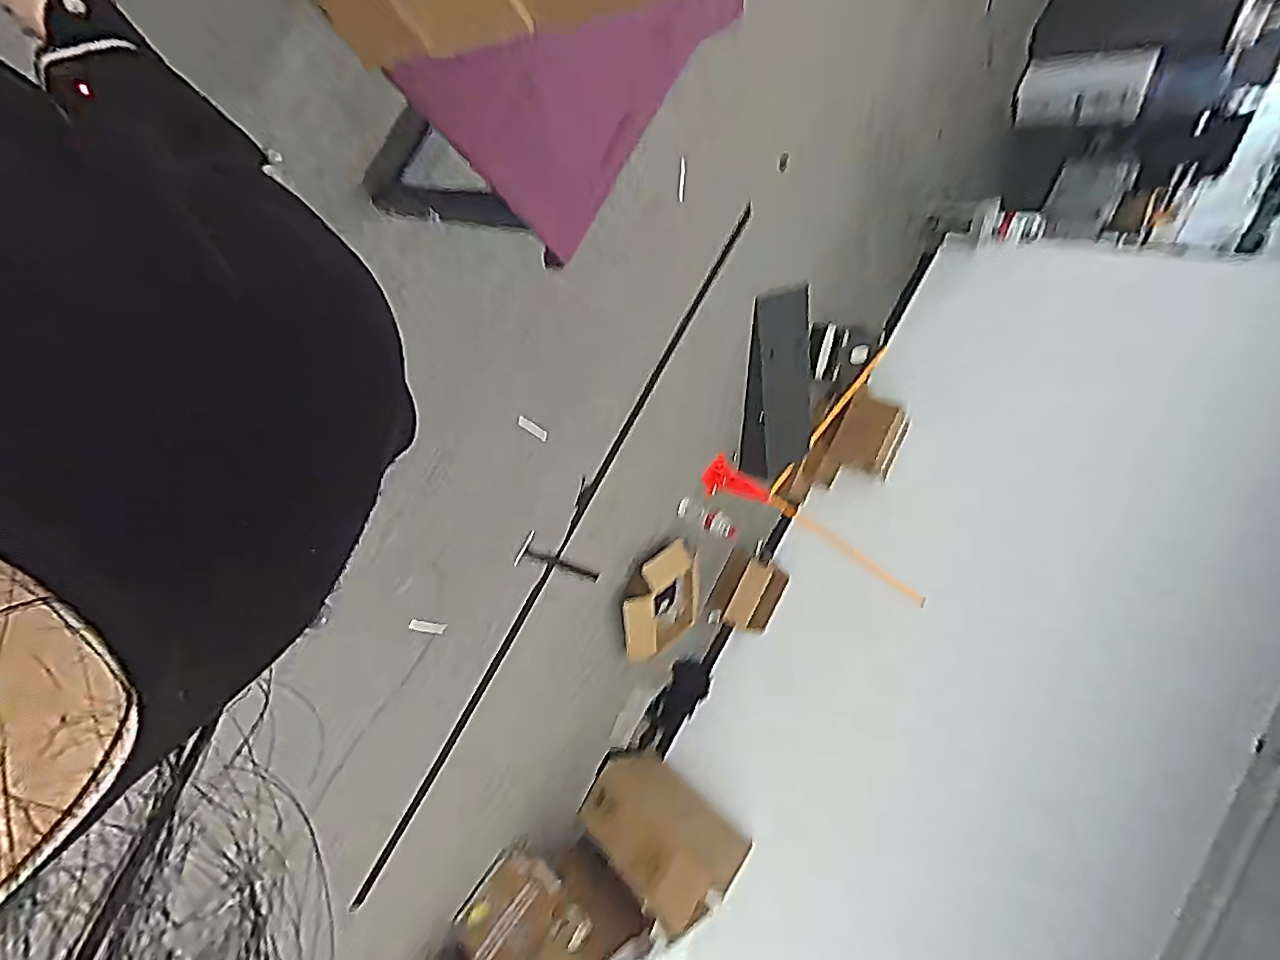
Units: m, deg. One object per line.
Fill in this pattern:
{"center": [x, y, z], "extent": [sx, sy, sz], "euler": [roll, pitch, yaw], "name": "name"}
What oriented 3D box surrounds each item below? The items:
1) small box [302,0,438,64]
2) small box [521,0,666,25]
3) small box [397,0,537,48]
{"center": [-0.257, -0.551, 0.523], "extent": [0.168, 0.176, 0.179], "euler": [35, 85, -52], "name": "small box"}
{"center": [-0.018, -0.438, 0.332], "extent": [0.168, 0.176, 0.179], "euler": [34, 83, -51], "name": "small box"}
{"center": [-0.143, -0.490, 0.425], "extent": [0.168, 0.176, 0.179], "euler": [33, 84, -52], "name": "small box"}
